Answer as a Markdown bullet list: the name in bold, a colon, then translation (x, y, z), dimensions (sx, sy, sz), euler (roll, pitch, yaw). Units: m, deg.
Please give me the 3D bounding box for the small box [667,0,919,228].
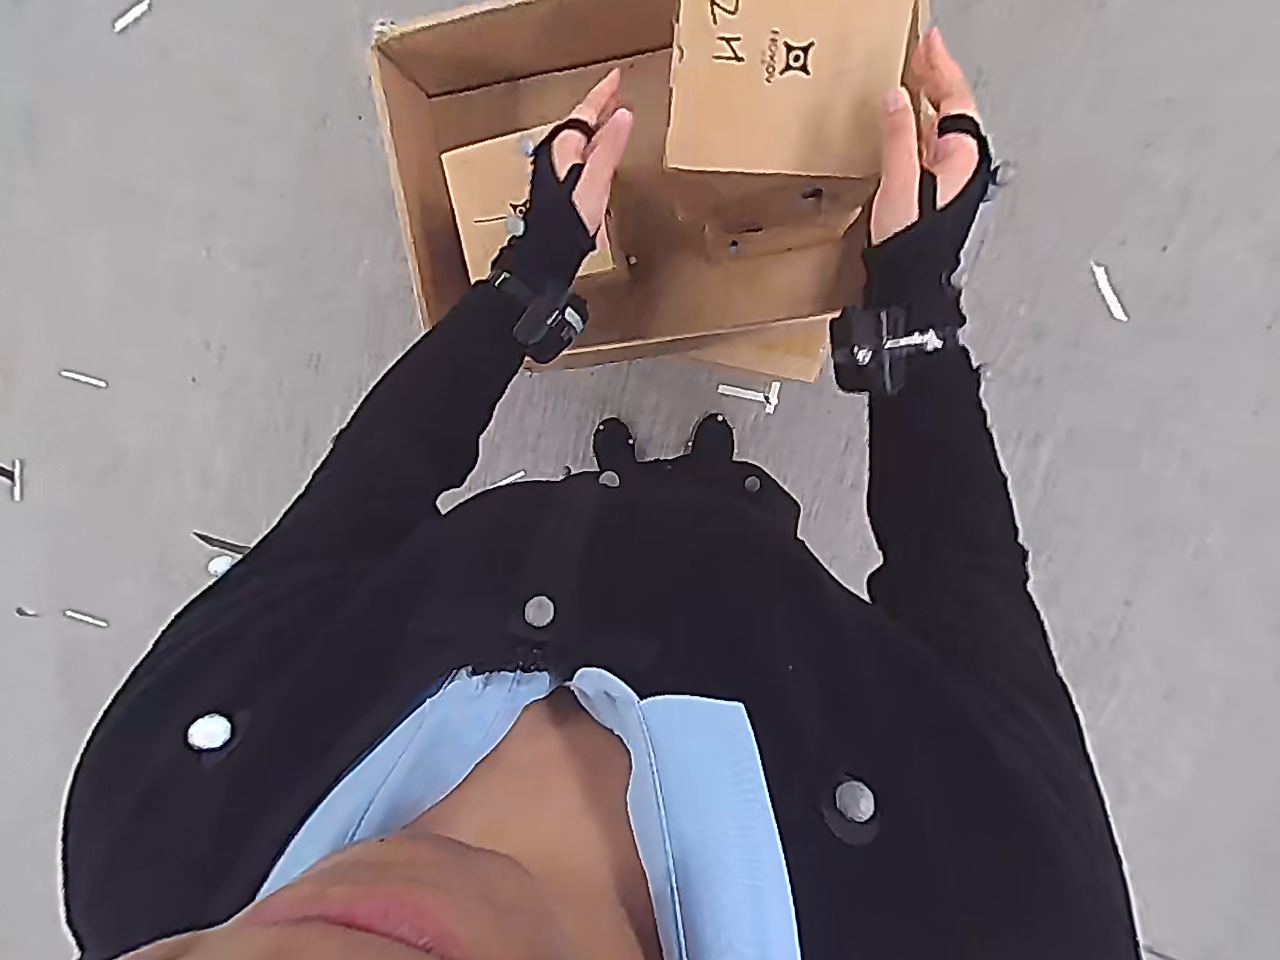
- **small box**: translation (0.127, -0.339, 0.493), dimensions (0.179, 0.176, 0.168), euler (8, 103, 8)
